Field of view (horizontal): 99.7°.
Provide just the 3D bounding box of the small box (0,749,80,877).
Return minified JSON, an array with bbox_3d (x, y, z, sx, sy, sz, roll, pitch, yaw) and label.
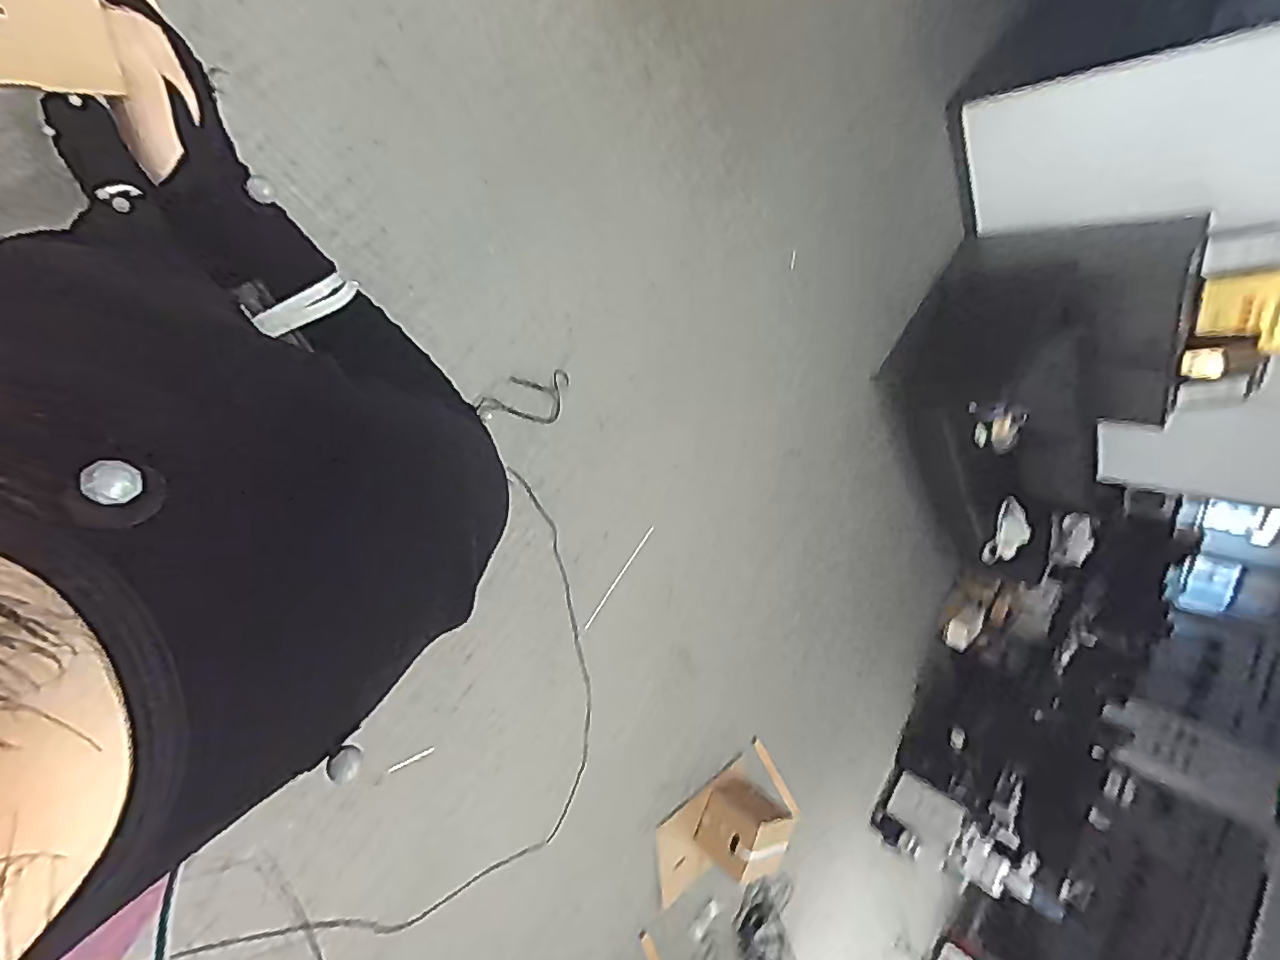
[{"bbox_3d":[-0.657,0.355,0.480,0.168,0.176,0.179,43,75,-40],"label":"small box"}]
